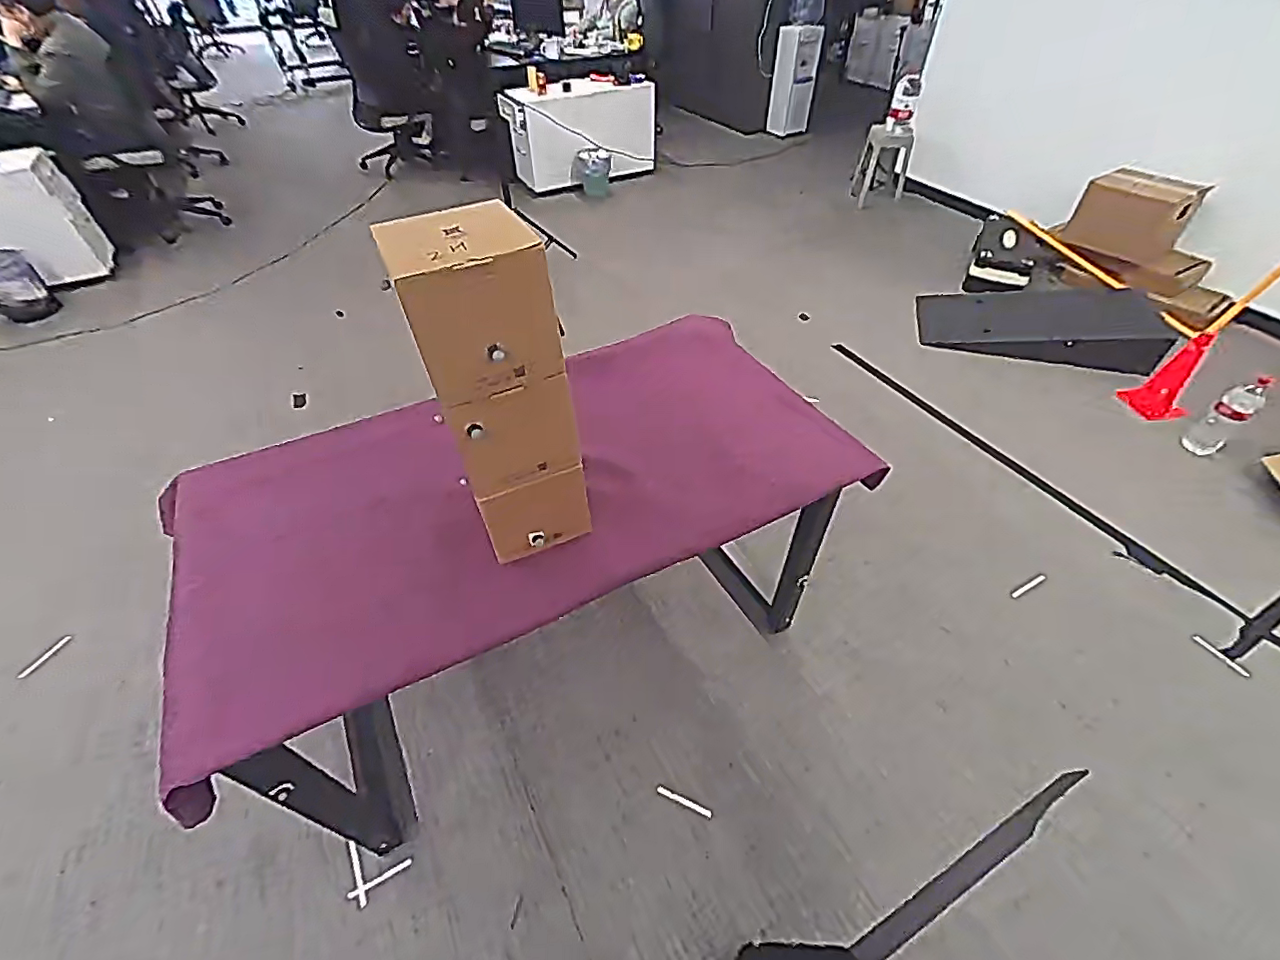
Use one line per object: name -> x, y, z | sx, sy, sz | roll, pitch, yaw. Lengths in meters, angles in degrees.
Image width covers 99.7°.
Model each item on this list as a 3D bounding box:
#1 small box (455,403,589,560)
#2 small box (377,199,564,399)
small box -> -0.196, 0.003, 0.919 | 0.168, 0.176, 0.179 | -21, 50, -17
small box -> -0.210, -0.230, 0.685 | 0.168, 0.176, 0.179 | -22, 49, -17
